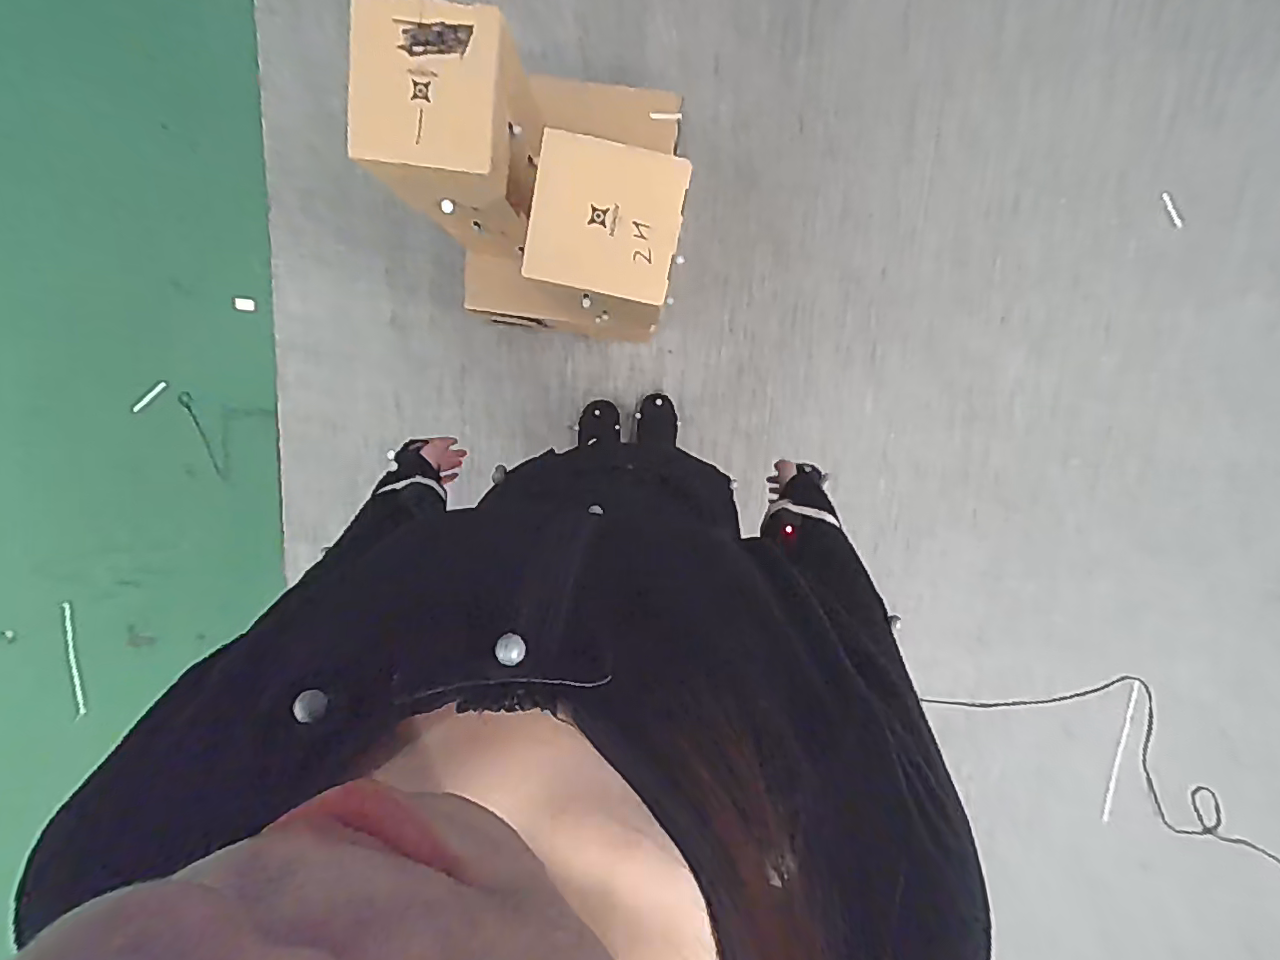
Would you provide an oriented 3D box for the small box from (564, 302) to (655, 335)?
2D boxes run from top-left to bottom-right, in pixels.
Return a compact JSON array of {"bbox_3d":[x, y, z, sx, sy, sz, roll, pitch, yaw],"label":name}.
[{"bbox_3d":[-0.043,-0.386,1.029,0.168,0.176,0.179,9,98,-2],"label":"small box"}]

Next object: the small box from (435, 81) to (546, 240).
[{"bbox_3d":[-0.241,-0.497,0.847,0.168,0.176,0.179,7,101,-2],"label":"small box"}]

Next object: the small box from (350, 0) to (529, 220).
[{"bbox_3d":[-0.242,-0.457,0.688,0.168,0.176,0.179,7,100,-1],"label":"small box"}]

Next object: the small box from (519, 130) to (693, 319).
[{"bbox_3d":[-0.041,-0.315,0.705,0.179,0.176,0.168,12,100,-2],"label":"small box"}]

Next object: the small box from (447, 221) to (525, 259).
[{"bbox_3d":[-0.246,-0.521,1.009,0.168,0.176,0.179,7,98,-1],"label":"small box"}]
